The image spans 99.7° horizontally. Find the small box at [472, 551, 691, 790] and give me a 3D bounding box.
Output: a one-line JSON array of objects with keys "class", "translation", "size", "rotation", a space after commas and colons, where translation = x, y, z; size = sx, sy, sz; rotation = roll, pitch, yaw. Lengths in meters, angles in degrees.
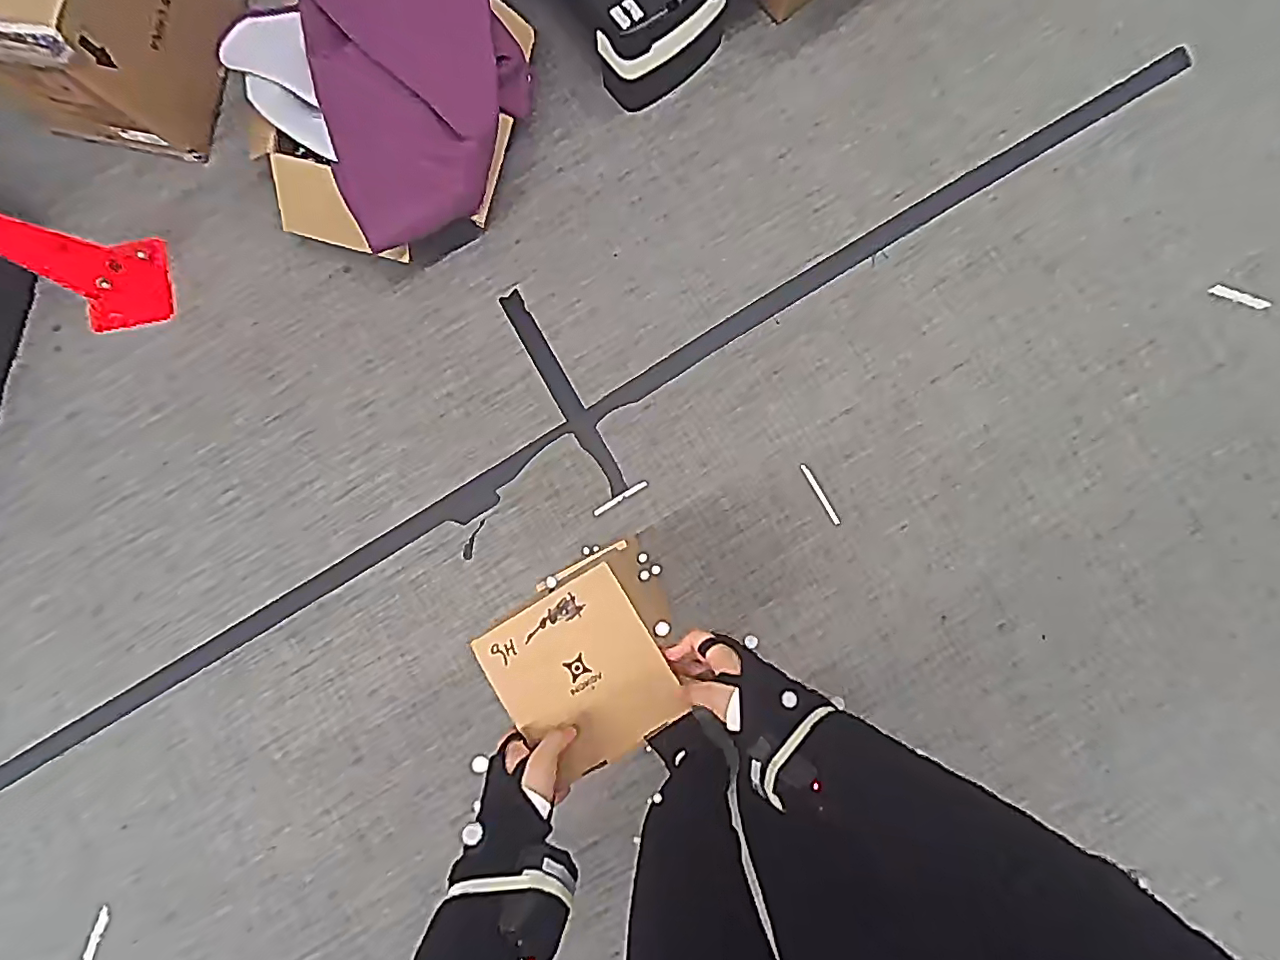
[{"class": "small box", "translation": [-0.056, 0.200, 0.624], "size": [0.168, 0.176, 0.179], "rotation": [-31, 88, 1]}]

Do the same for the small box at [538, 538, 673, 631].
[{"class": "small box", "translation": [-0.056, 0.212, 0.950], "size": [0.168, 0.176, 0.179], "rotation": [-27, 88, 1]}]
